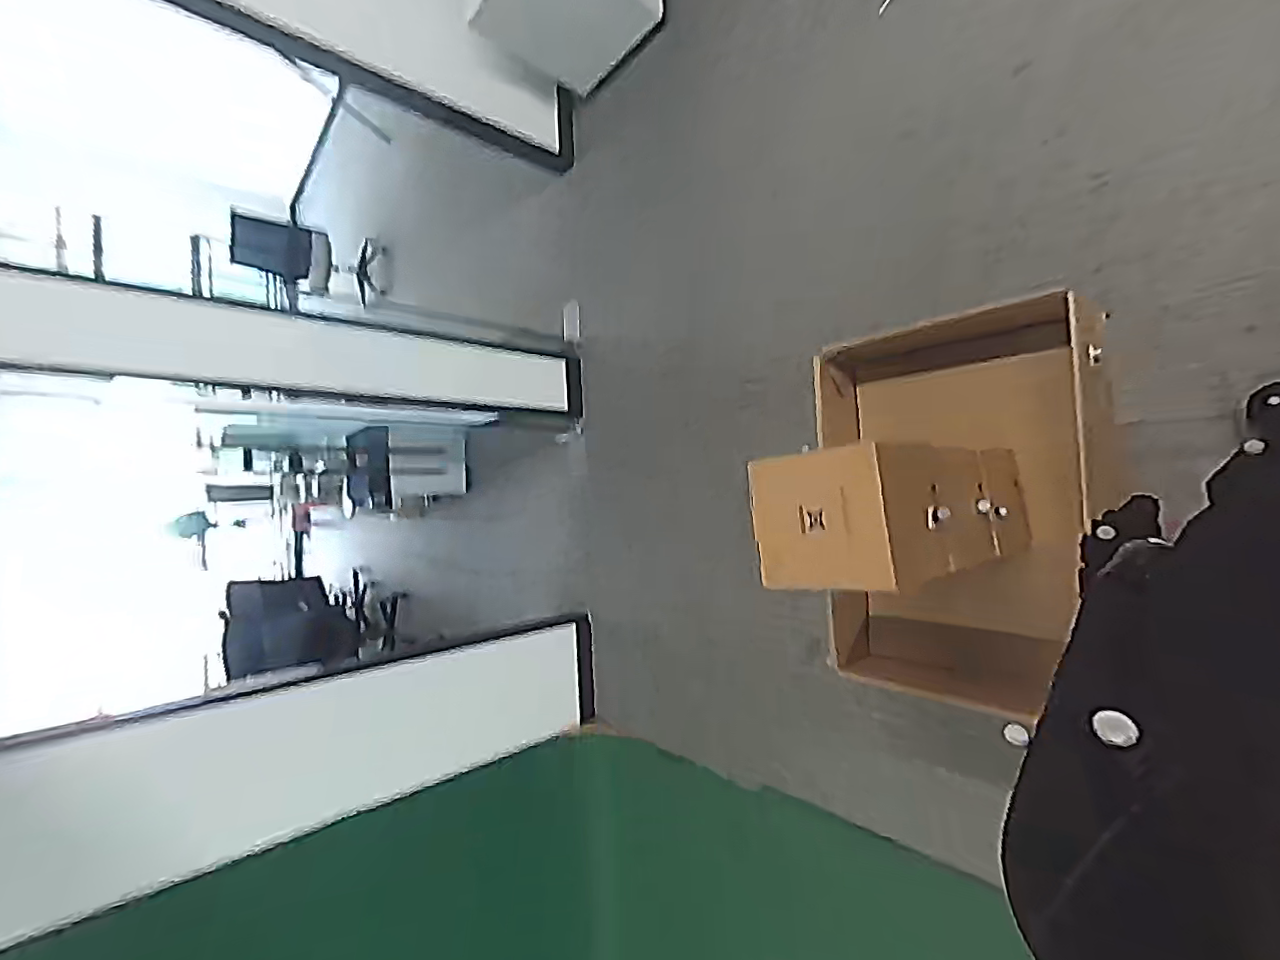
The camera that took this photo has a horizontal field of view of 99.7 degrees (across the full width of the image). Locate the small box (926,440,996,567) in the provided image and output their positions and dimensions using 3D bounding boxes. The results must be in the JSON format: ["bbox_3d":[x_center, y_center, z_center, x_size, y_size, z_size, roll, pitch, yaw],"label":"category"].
[{"bbox_3d":[0.393,0.039,0.801,0.179,0.176,0.168,-12,82,48],"label":"small box"}]

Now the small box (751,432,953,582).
[{"bbox_3d":[0.270,0.036,0.696,0.179,0.176,0.168,-11,84,48],"label":"small box"}]

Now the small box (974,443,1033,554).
[{"bbox_3d":[0.519,0.036,0.905,0.179,0.176,0.168,-14,82,50],"label":"small box"}]
